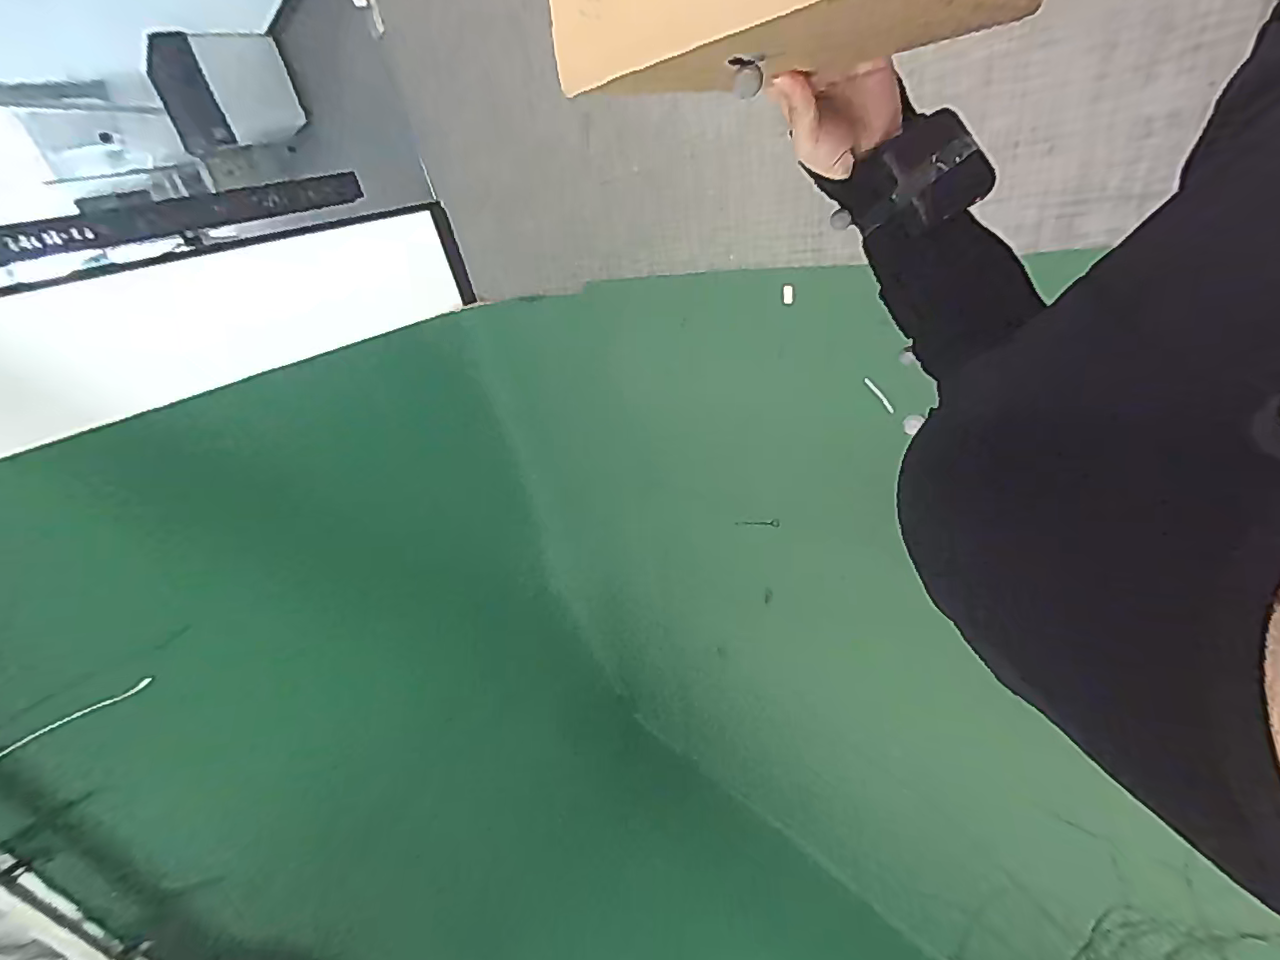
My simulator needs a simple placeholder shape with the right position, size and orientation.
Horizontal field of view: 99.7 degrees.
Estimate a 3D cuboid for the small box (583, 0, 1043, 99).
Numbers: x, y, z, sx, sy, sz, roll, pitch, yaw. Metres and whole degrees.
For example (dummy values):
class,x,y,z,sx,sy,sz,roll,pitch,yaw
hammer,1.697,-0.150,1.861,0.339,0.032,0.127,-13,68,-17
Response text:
class,x,y,z,sx,sy,sz,roll,pitch,yaw
small box,0.081,-0.290,0.246,0.179,0.176,0.168,22,132,45
